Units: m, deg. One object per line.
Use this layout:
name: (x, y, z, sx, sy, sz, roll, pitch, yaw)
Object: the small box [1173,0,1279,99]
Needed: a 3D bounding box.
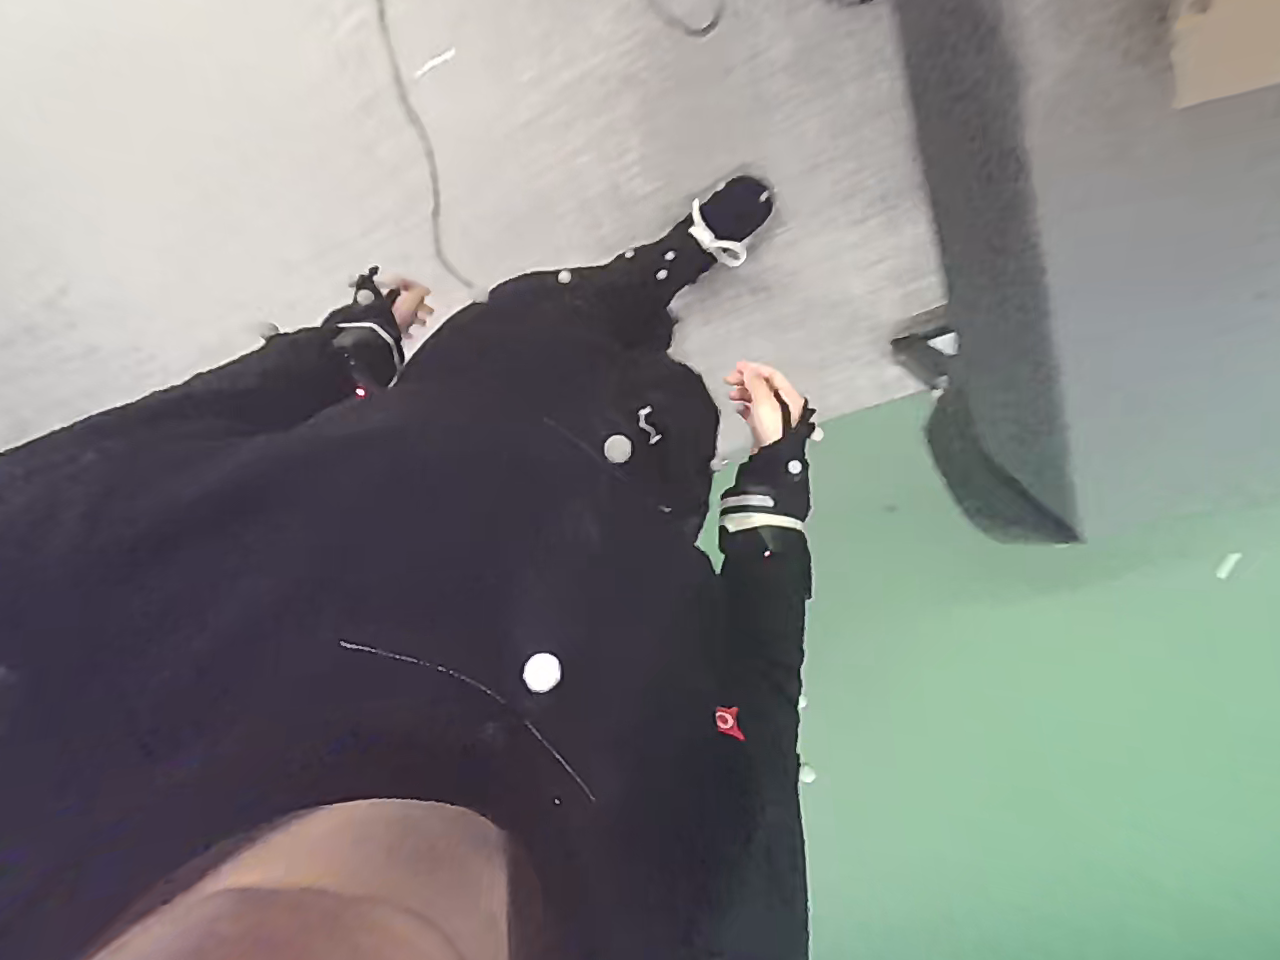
small box: (0.445, -0.341, 0.285, 0.179, 0.176, 0.168, -17, 111, 17)
